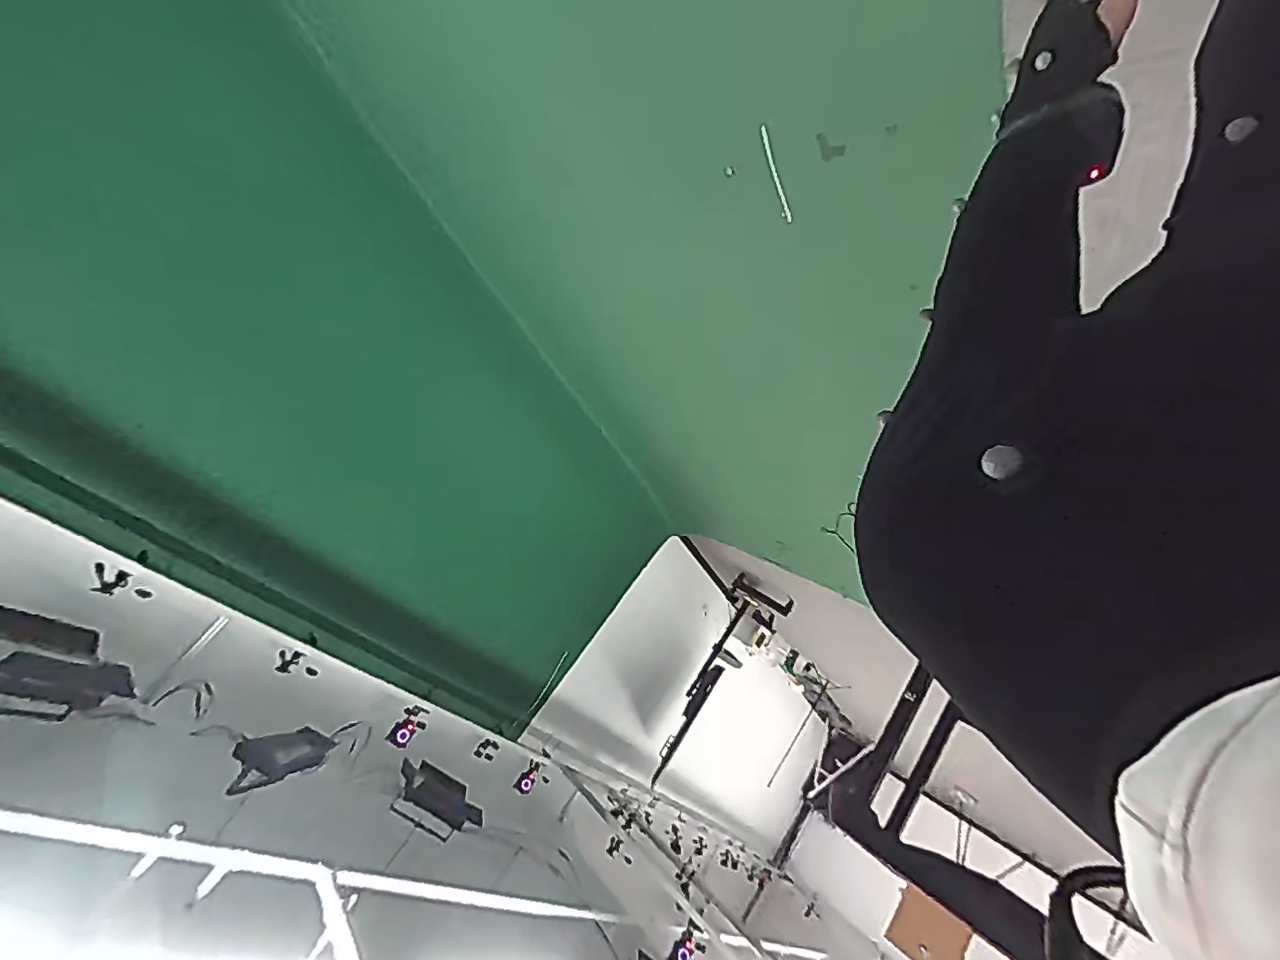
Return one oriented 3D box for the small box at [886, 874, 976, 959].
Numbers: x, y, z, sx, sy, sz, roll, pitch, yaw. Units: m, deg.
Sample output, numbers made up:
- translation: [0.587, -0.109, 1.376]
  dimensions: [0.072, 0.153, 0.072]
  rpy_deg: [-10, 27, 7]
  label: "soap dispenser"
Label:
- translation: [0.819, 1.250, 1.515]
  dimensions: [0.179, 0.176, 0.168]
  rpy_deg: [23, 158, 41]
  label: "small box"
